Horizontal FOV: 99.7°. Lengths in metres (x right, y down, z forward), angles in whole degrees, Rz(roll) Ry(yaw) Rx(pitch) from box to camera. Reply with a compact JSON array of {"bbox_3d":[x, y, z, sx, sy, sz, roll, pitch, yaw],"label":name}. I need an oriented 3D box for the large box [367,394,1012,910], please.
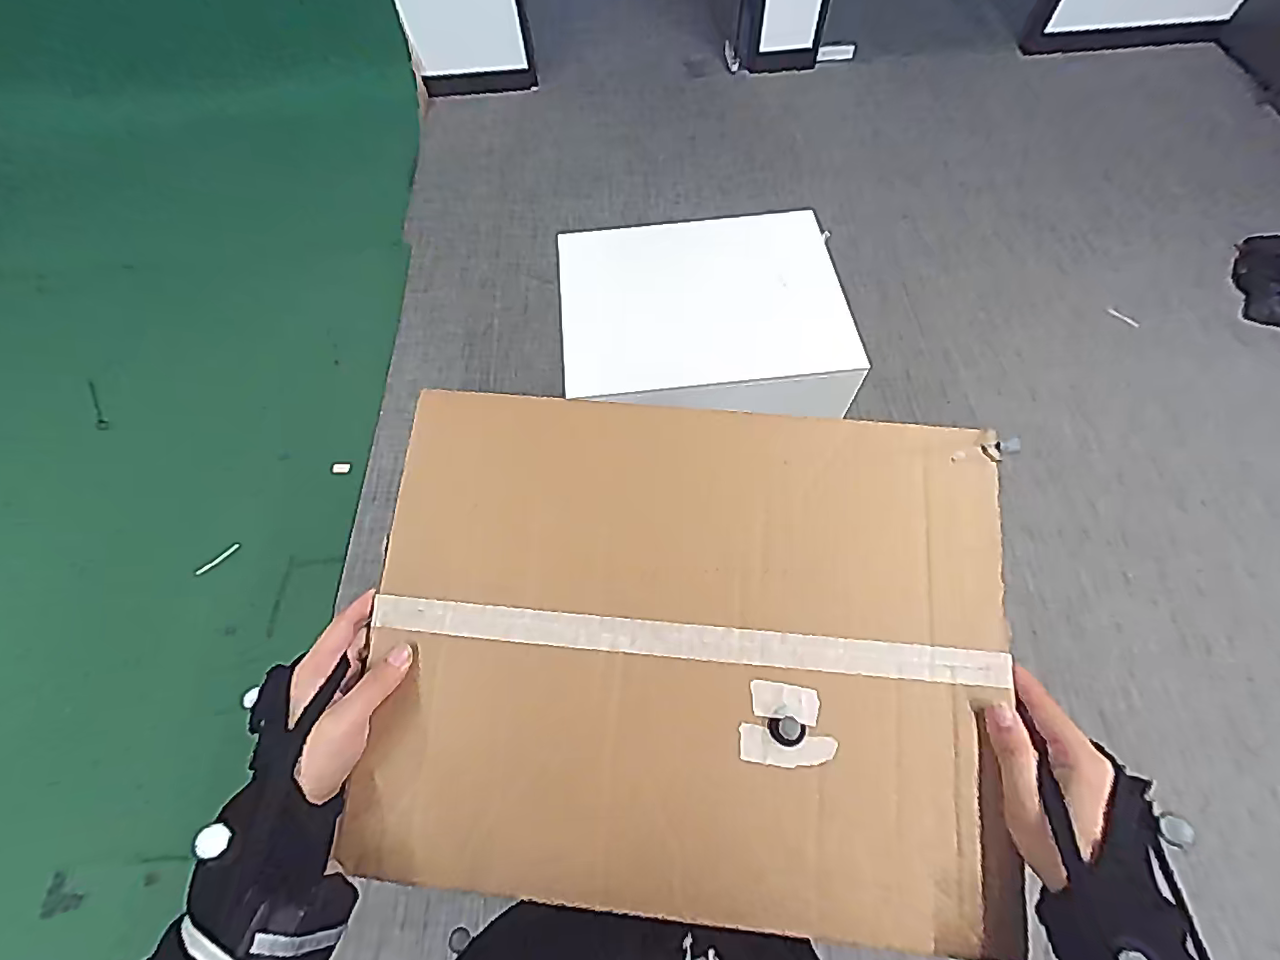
[{"bbox_3d":[0.038,0.131,0.507,0.408,0.320,0.320,4,78,2],"label":"large box"}]
